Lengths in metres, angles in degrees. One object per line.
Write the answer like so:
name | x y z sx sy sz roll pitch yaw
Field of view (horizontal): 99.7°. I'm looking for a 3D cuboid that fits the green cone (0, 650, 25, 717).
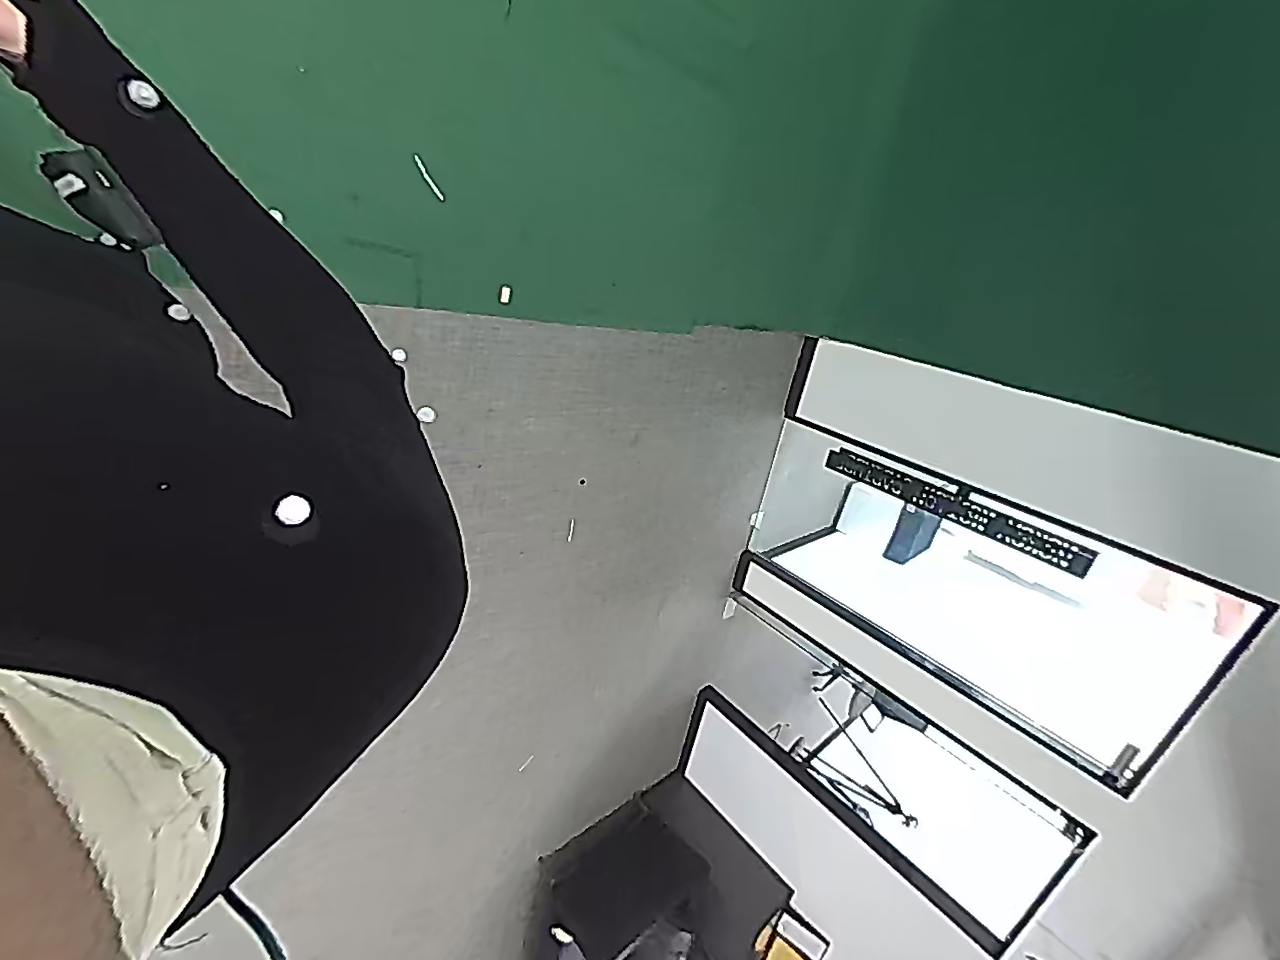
green cone | -1.458 0.558 1.123 0.202 0.368 0.200 -8 119 -42
